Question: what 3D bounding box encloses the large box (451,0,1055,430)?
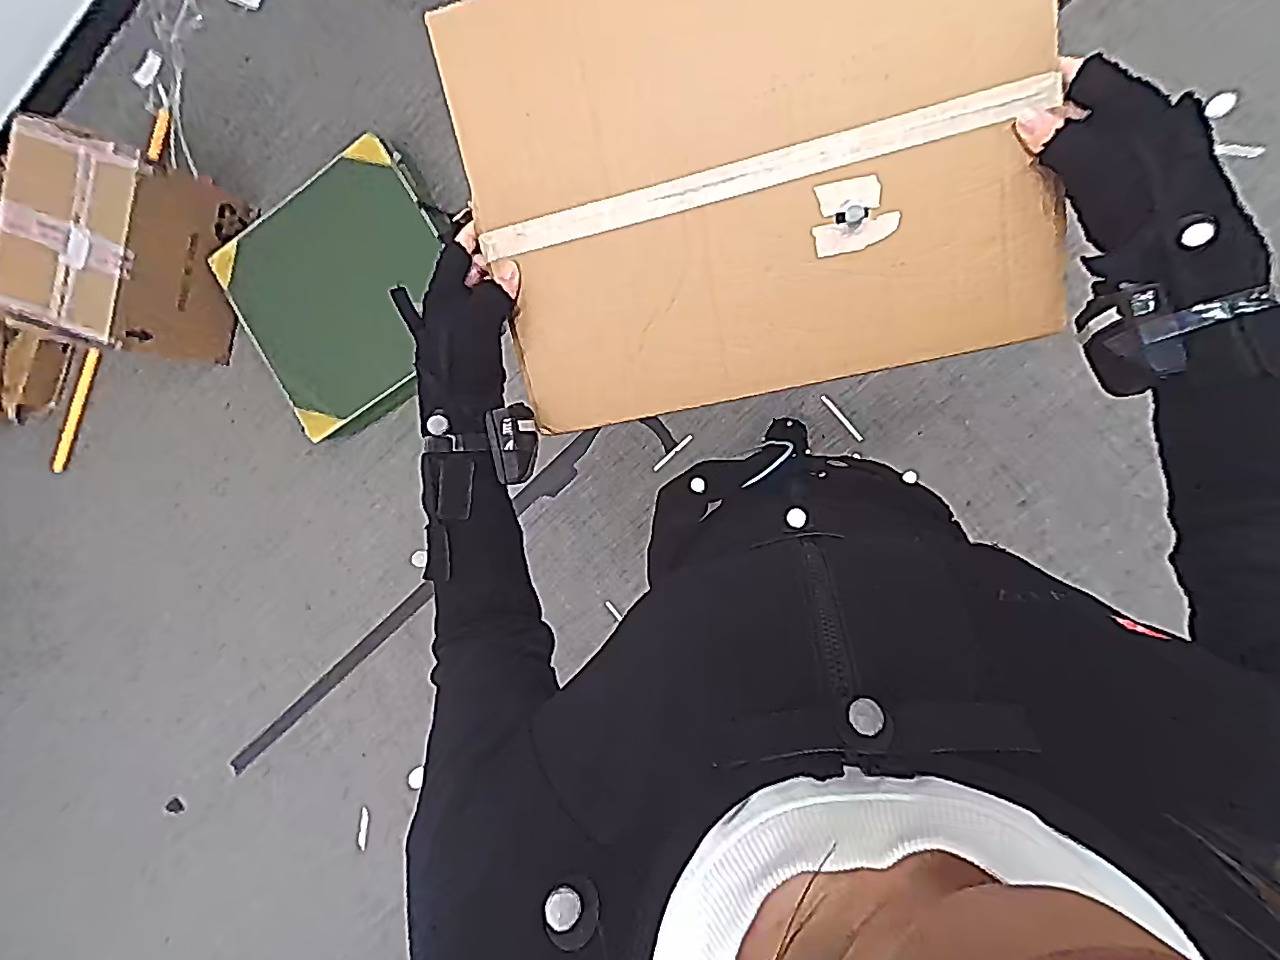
[{"bbox_3d":[0.099,-0.264,0.542,0.408,0.320,0.320,-11,105,10],"label":"large box"}]
